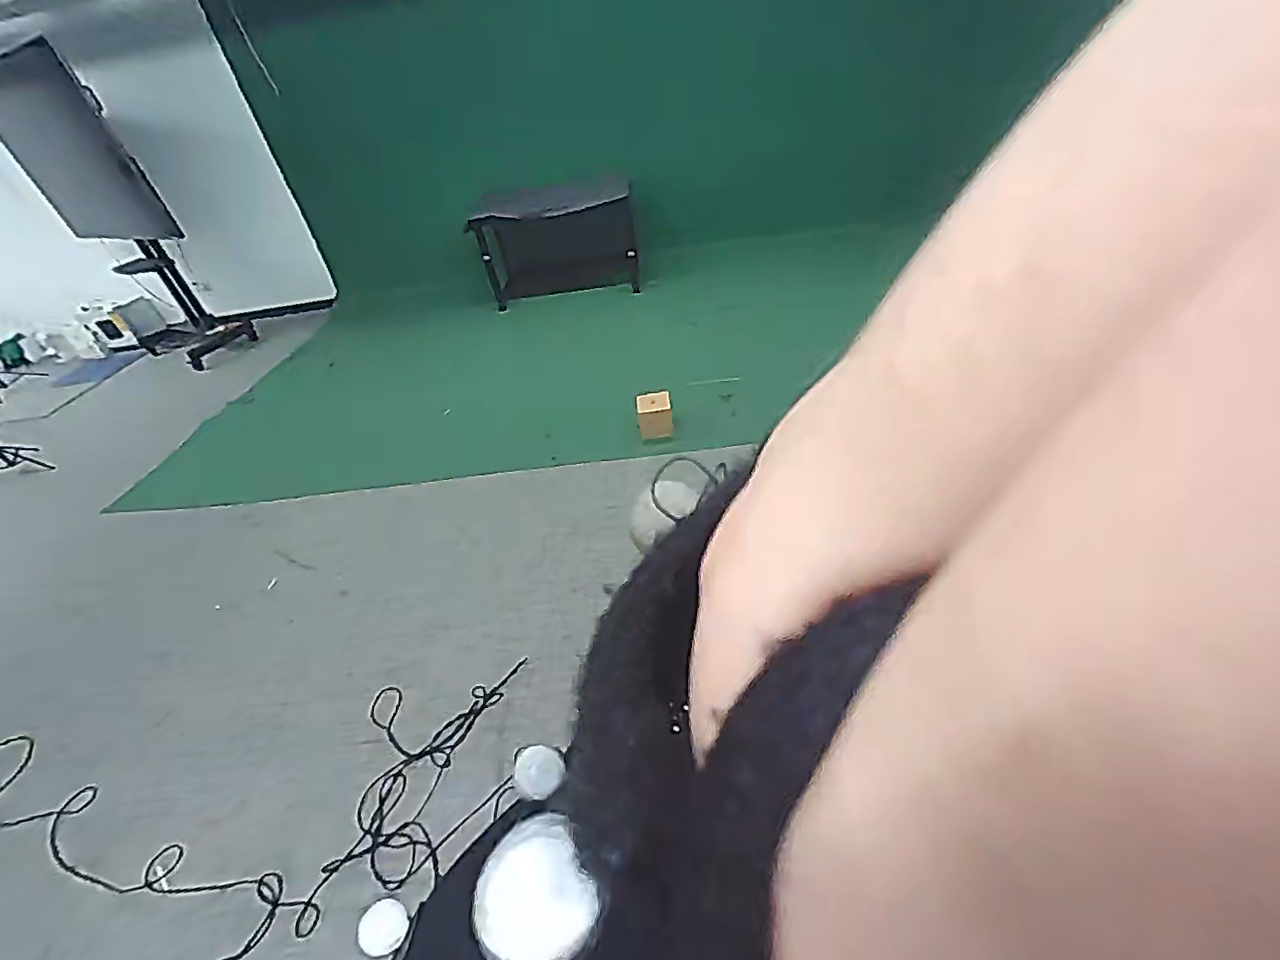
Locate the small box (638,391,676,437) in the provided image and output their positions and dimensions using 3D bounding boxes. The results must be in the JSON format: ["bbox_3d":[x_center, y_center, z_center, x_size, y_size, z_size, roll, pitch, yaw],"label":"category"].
[{"bbox_3d":[0.086,-0.329,2.743,0.168,0.176,0.179,-8,38,4],"label":"small box"}]
